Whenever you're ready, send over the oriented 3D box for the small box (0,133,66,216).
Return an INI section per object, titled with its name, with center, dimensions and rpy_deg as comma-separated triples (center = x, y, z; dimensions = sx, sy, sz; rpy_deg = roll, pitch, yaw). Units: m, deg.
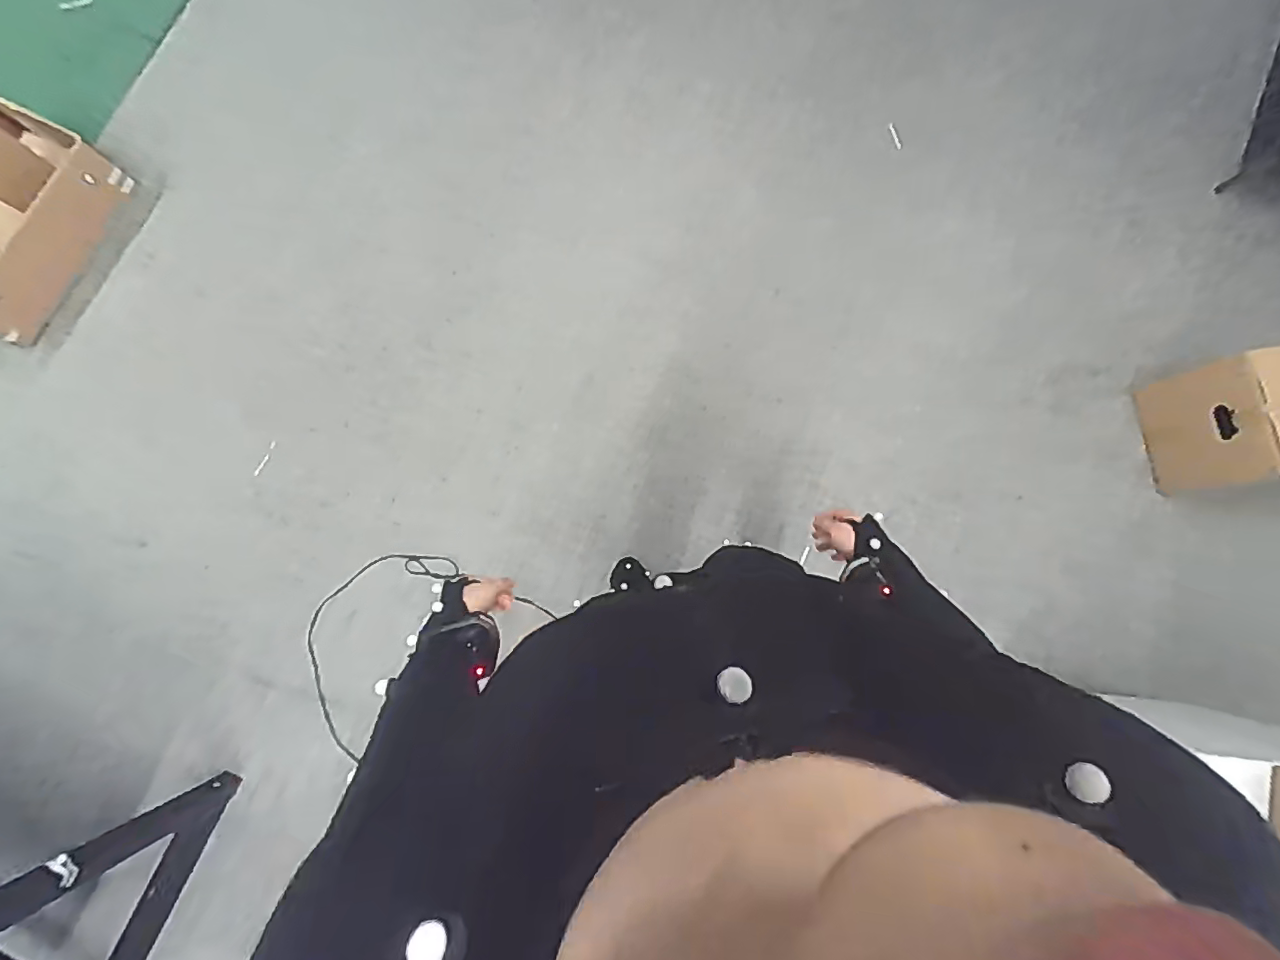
[small box]
center = -1.808, -0.883, 1.516
dimensions = 0.179, 0.176, 0.168
rpy_deg = 33, 83, 2
